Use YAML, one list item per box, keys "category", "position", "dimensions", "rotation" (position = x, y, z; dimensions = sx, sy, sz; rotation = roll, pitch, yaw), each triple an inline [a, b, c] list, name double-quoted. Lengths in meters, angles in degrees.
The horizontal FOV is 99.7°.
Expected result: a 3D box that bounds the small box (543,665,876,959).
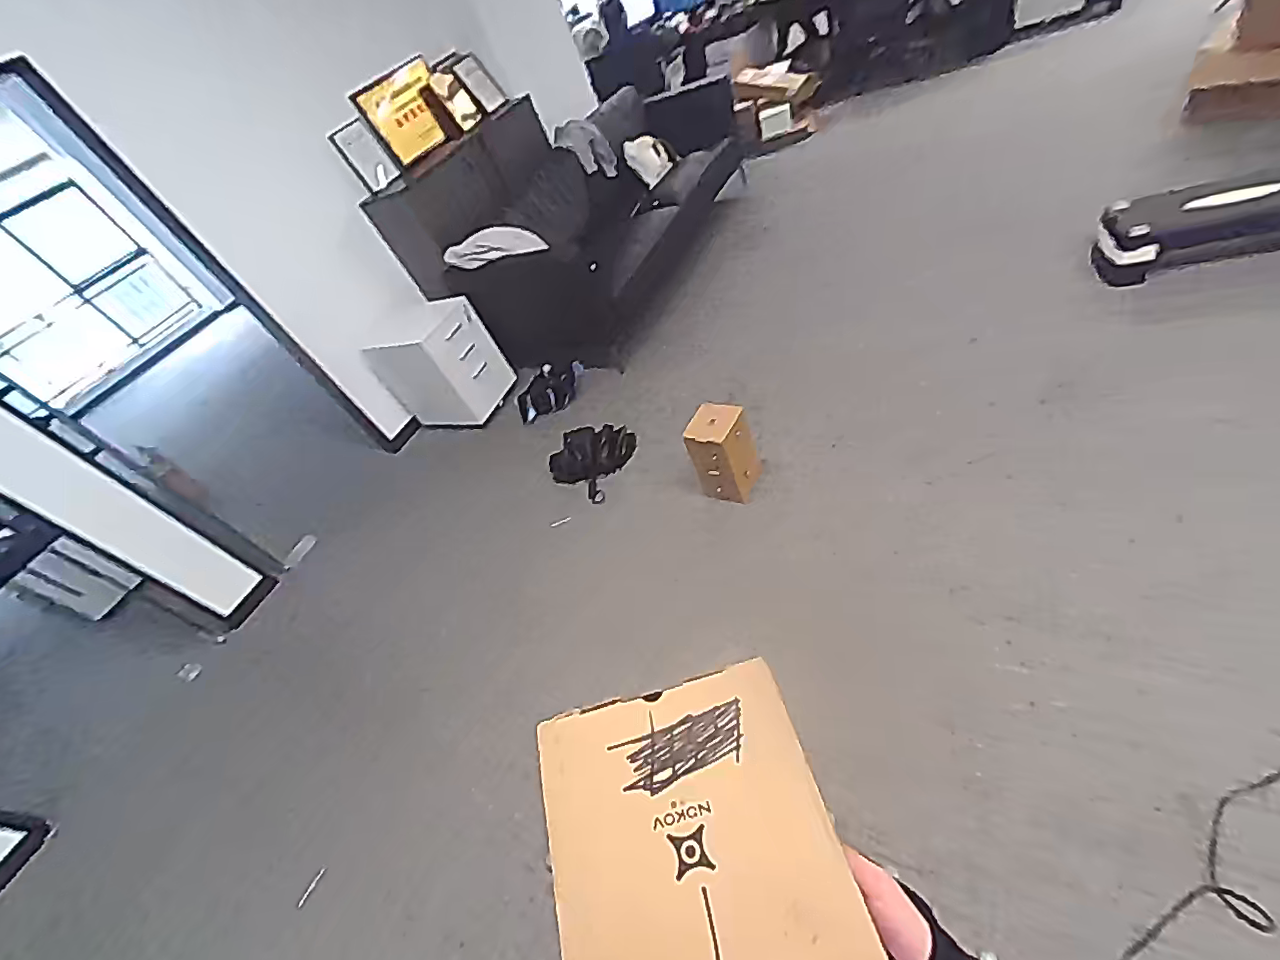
- category: "small box"
  position: [0.037, 0.262, 0.385]
  dimensions: [0.168, 0.176, 0.179]
  rotation: [-14, 51, -2]
